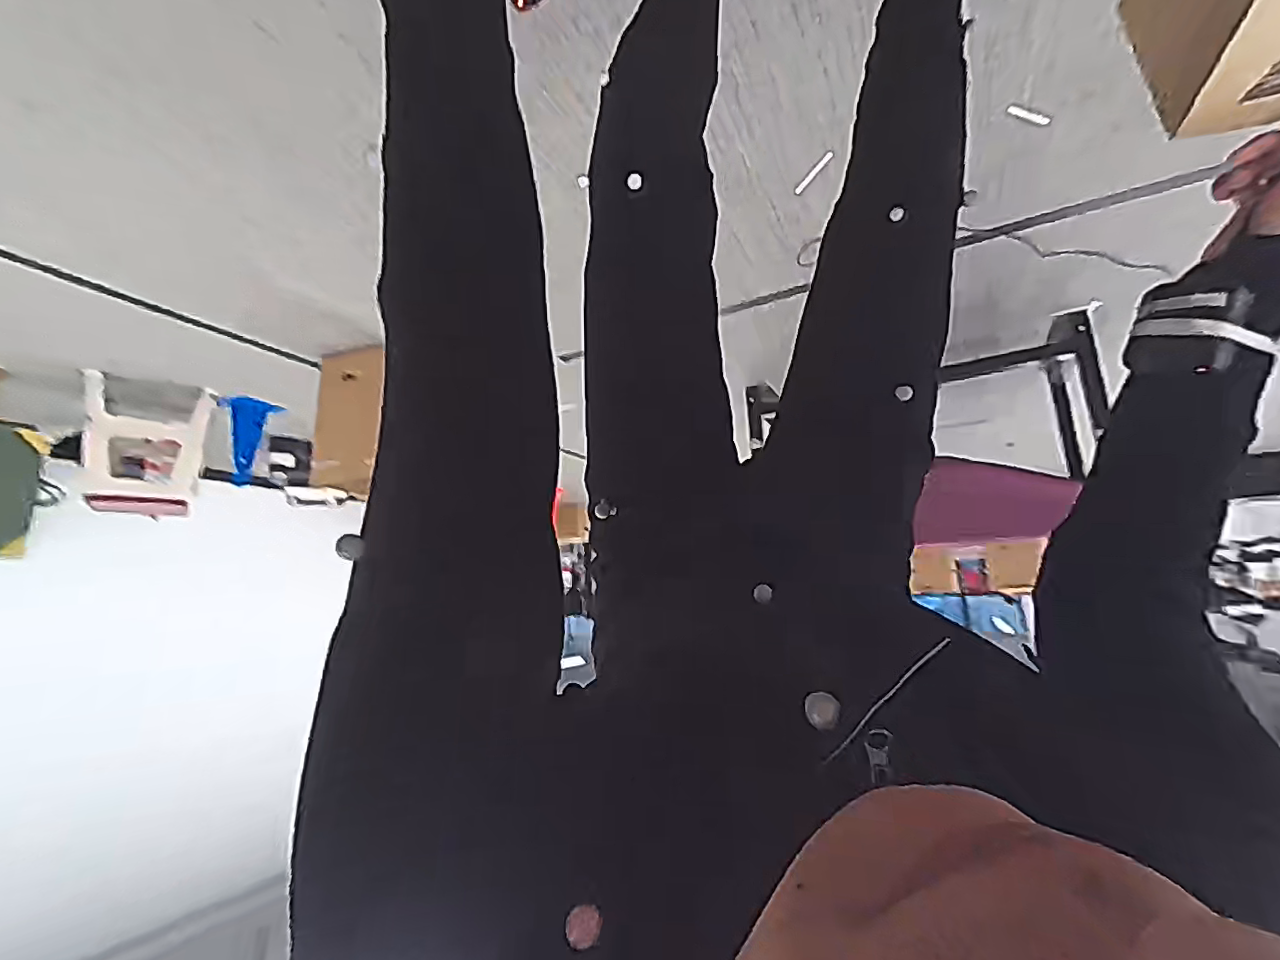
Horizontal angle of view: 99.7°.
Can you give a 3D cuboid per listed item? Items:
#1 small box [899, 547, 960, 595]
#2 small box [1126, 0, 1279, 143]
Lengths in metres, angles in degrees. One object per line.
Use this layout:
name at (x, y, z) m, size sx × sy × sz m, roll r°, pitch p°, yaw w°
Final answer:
small box at (1.094, 0.344, 2.047) m, size 0.168 × 0.176 × 0.179 m, roll -12°, pitch 165°, yaw 36°
small box at (0.437, -0.352, 0.322) m, size 0.168 × 0.176 × 0.179 m, roll -2°, pitch 155°, yaw 18°
